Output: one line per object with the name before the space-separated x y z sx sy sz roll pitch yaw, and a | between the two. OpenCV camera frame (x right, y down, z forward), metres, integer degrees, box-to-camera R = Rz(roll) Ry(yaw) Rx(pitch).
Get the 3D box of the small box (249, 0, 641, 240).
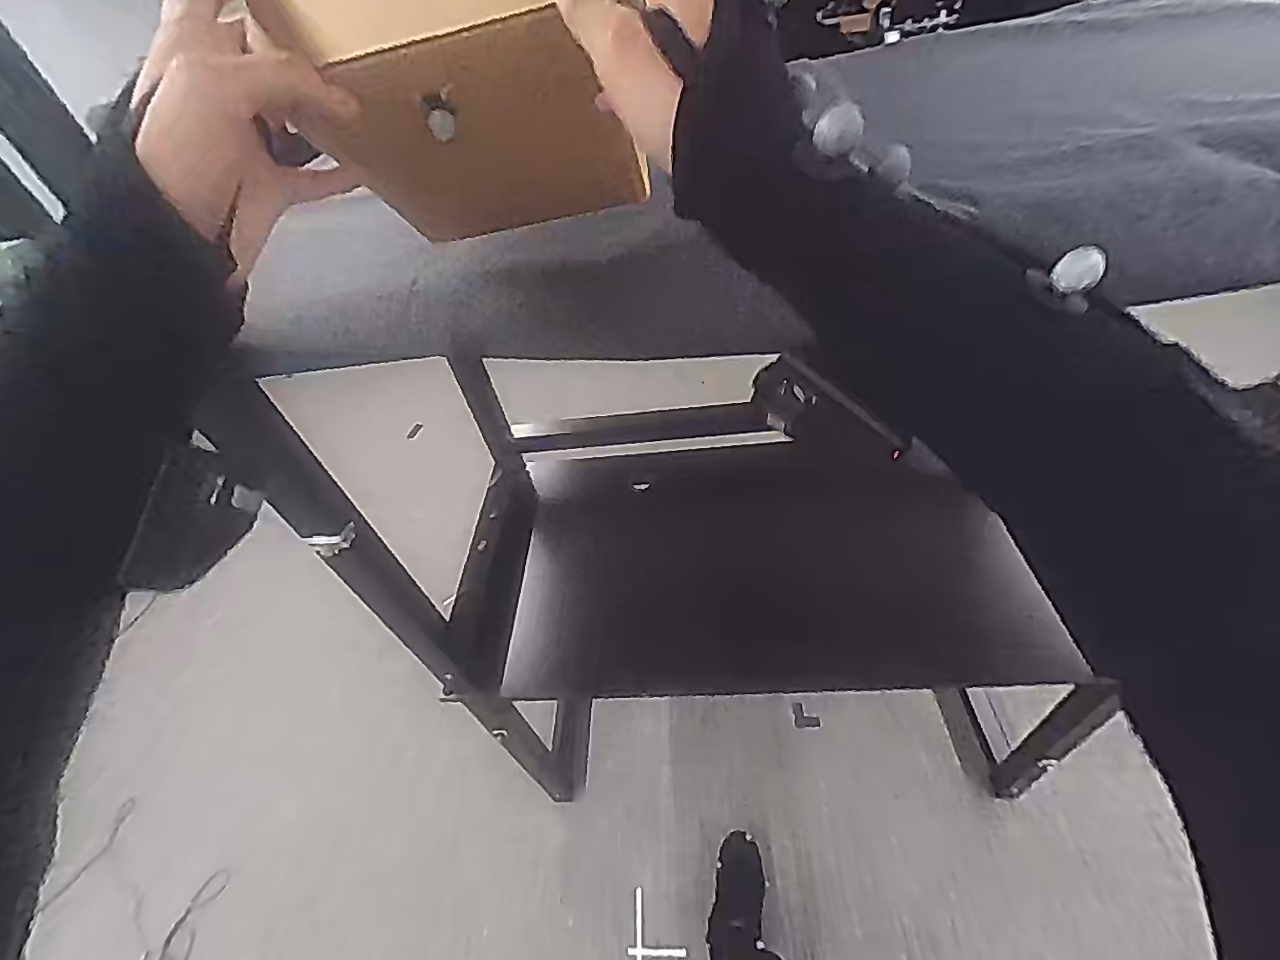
small box | -0.099 -0.276 0.334 0.179 0.176 0.168 -7 87 10
